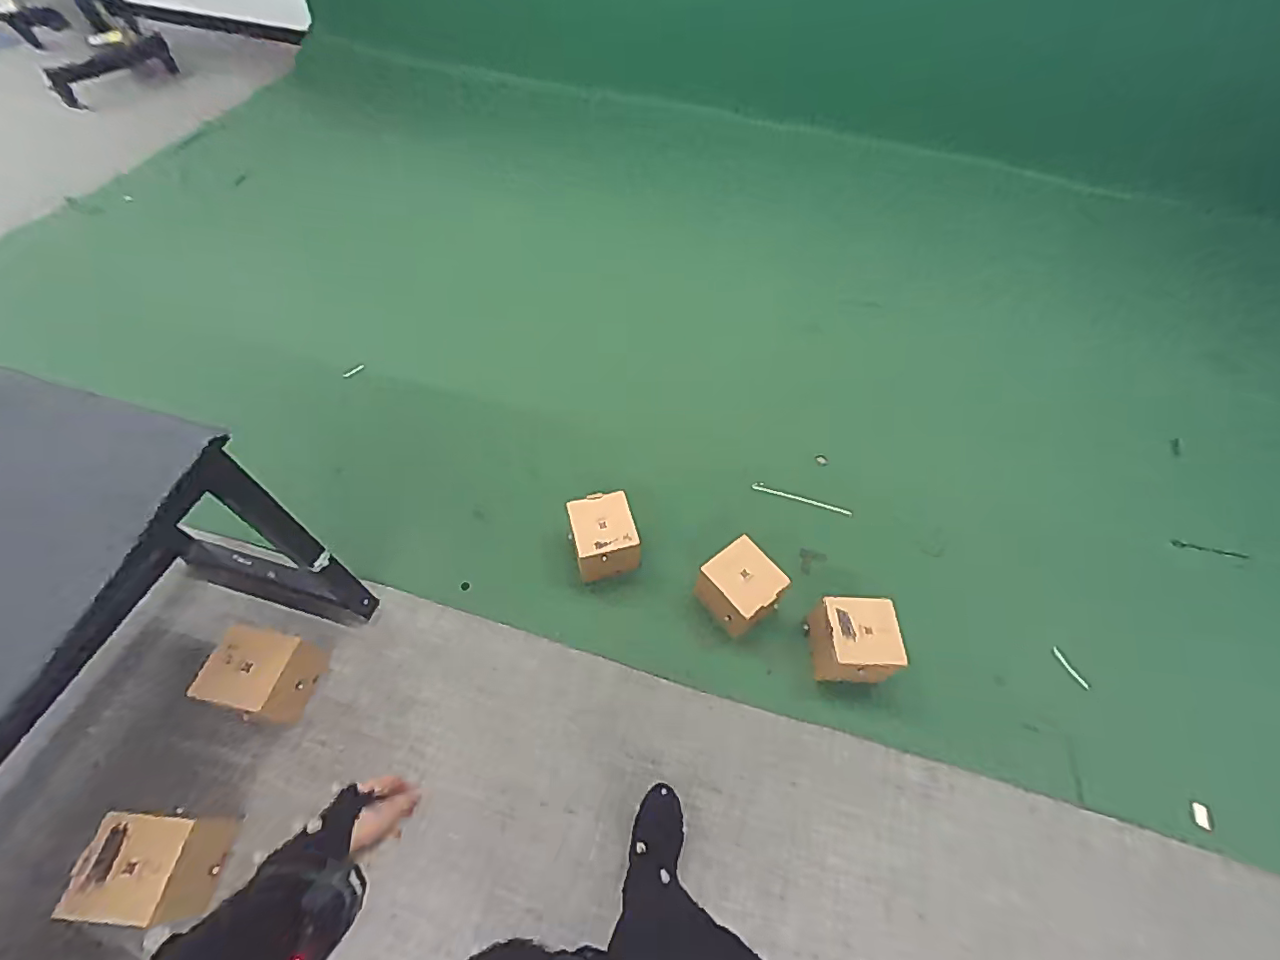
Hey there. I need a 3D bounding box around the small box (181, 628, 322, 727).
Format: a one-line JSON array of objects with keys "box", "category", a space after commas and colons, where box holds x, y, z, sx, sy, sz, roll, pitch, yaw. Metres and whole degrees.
[{"box": [-0.892, 0.467, 1.265, 0.179, 0.176, 0.168, 11, 56, 4], "category": "small box"}]

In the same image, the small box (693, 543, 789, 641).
[{"box": [0.261, 0.306, 1.438, 0.168, 0.176, 0.179, -32, 63, -23], "category": "small box"}]

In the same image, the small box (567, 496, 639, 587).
[{"box": [-0.107, 0.173, 1.507, 0.168, 0.176, 0.179, -11, 57, -11], "category": "small box"}]

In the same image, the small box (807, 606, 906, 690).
[{"box": [0.536, 0.429, 1.371, 0.179, 0.176, 0.168, 3, 56, -2], "category": "small box"}]
